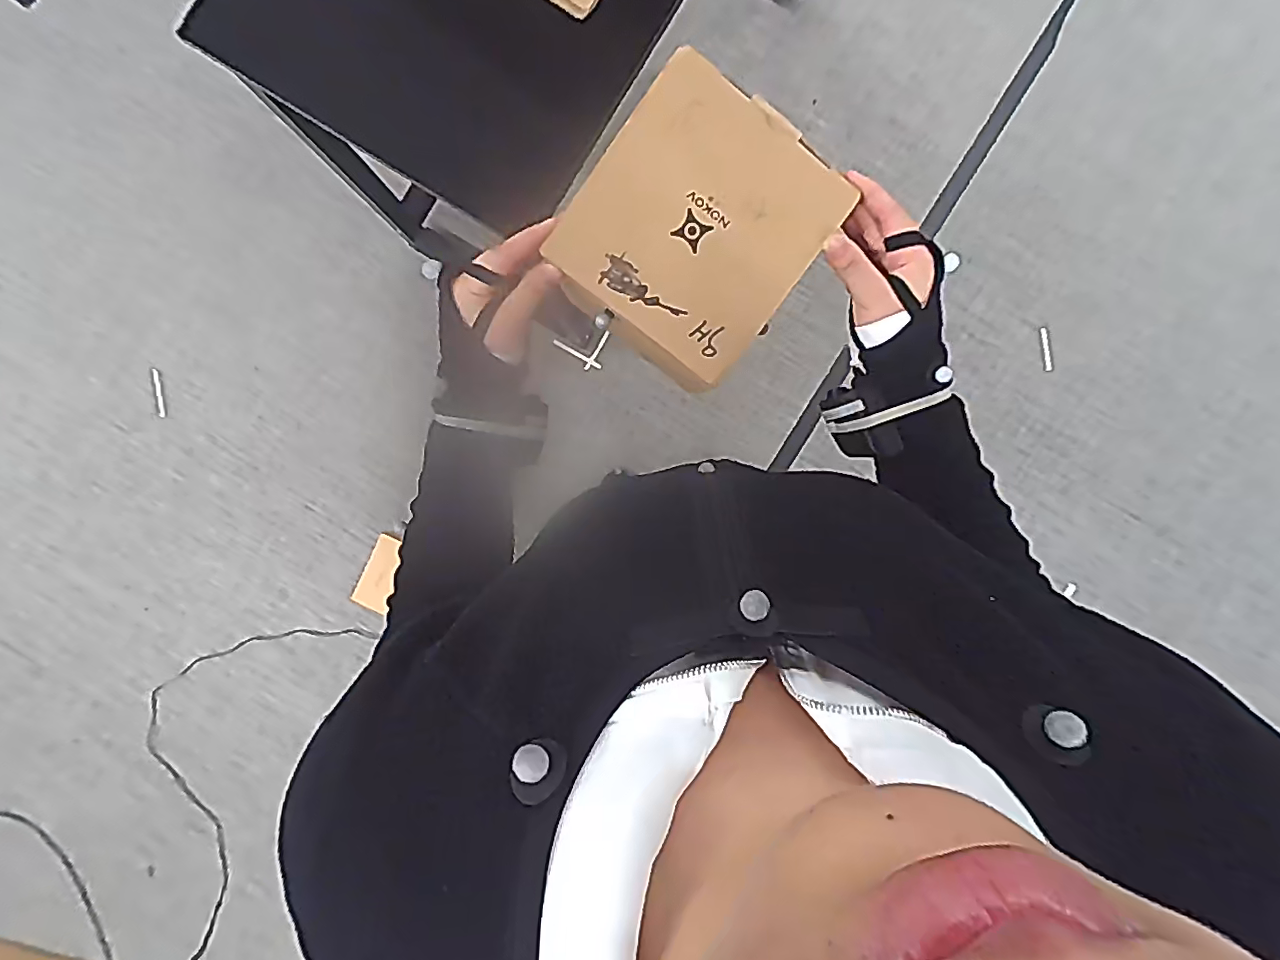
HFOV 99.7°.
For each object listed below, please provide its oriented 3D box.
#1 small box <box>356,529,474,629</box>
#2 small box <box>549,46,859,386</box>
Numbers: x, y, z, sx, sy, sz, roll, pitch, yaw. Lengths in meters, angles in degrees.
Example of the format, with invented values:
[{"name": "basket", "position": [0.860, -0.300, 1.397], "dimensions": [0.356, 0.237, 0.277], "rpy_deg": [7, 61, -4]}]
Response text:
[{"name": "small box", "position": [-0.520, 0.223, 1.279], "dimensions": [0.179, 0.176, 0.168], "rpy_deg": [25, 90, 2]}, {"name": "small box", "position": [0.044, -0.200, 0.472], "dimensions": [0.168, 0.176, 0.179], "rpy_deg": [37, 95, -5]}]
